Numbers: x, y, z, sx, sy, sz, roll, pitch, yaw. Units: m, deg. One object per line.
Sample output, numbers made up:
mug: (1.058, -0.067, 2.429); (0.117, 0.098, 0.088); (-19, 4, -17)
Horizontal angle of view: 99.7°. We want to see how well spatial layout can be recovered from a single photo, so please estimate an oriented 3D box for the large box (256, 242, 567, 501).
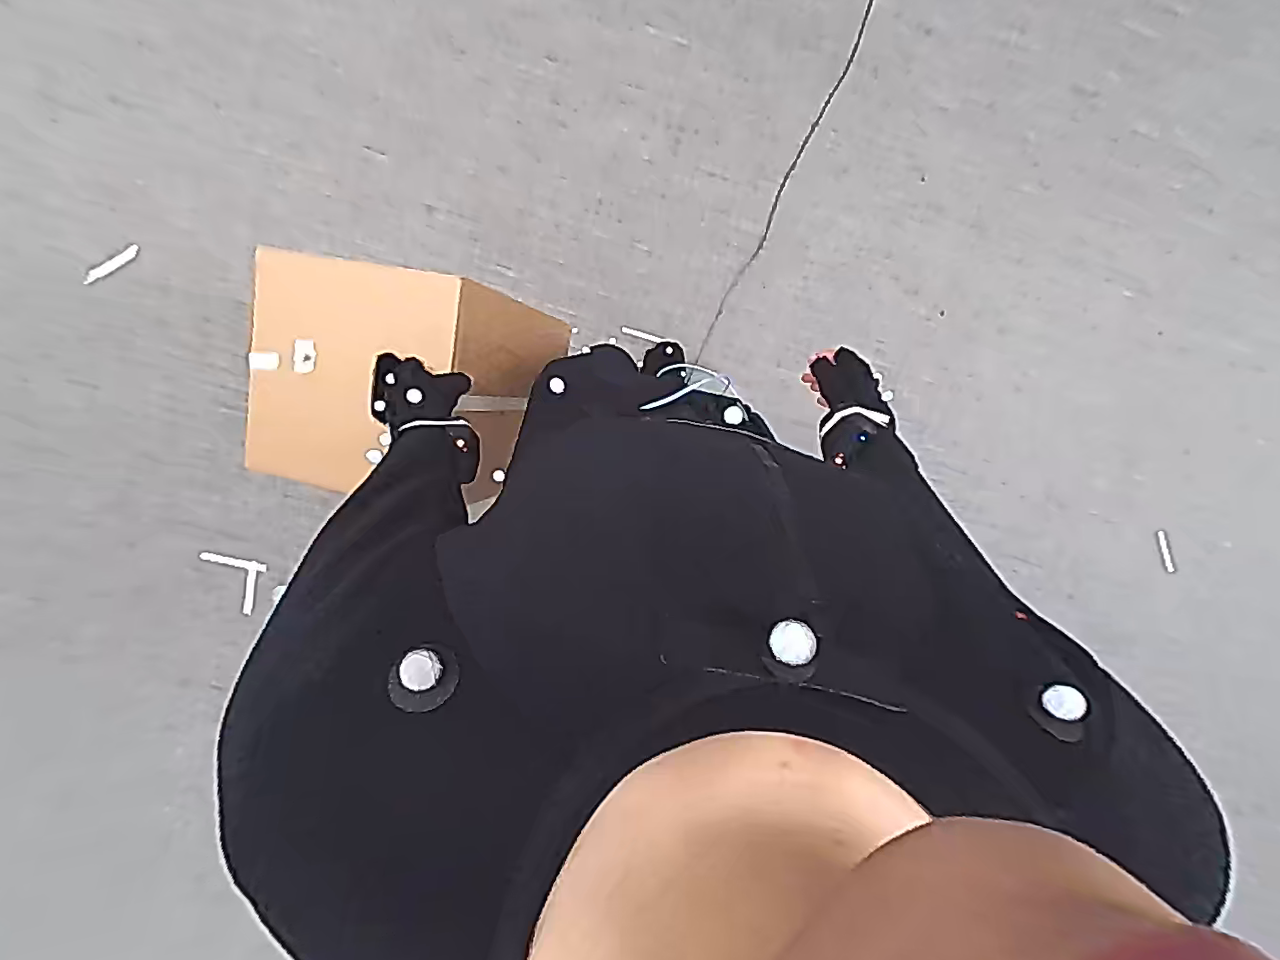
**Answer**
large box: (-0.359, -0.182, 0.929); (0.320, 0.408, 0.320); (15, 102, 9)
